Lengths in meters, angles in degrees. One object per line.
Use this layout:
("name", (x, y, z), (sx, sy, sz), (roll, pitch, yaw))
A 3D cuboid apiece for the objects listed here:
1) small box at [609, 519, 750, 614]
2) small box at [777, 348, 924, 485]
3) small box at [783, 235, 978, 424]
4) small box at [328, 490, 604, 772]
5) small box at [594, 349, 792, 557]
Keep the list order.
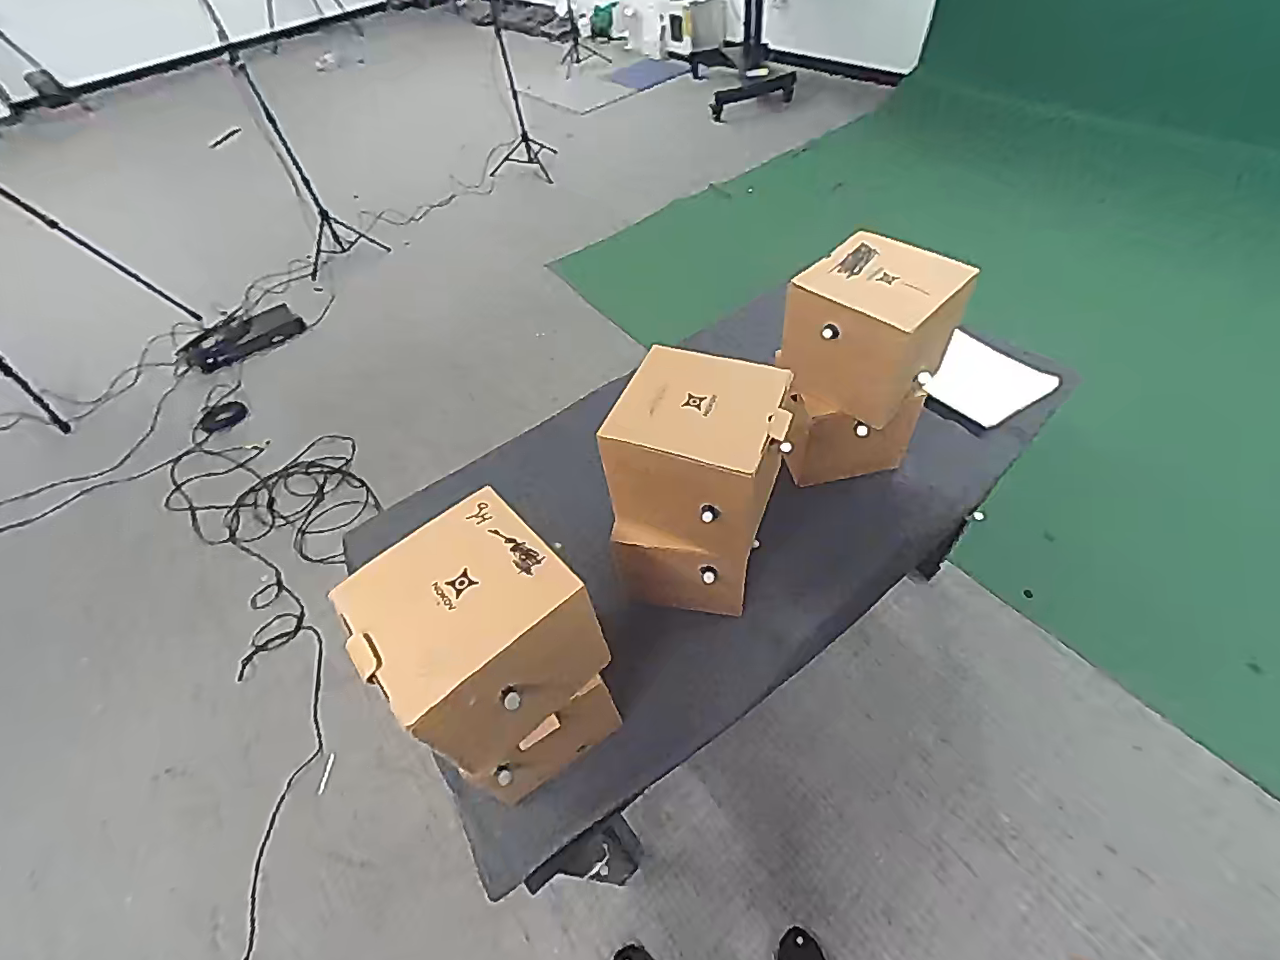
("small box", (0.068, 0.077, 0.776), (0.179, 0.176, 0.168), (5, 52, 12))
("small box", (0.326, -0.114, 0.896), (0.179, 0.176, 0.168), (-11, 51, -1))
("small box", (0.321, -0.209, 0.760), (0.168, 0.176, 0.179), (-39, 57, -21))
("small box", (-0.157, 0.151, 0.535), (0.179, 0.176, 0.168), (-37, 55, -21))
("small box", (0.069, -0.029, 0.652), (0.179, 0.176, 0.168), (15, 54, 19))
